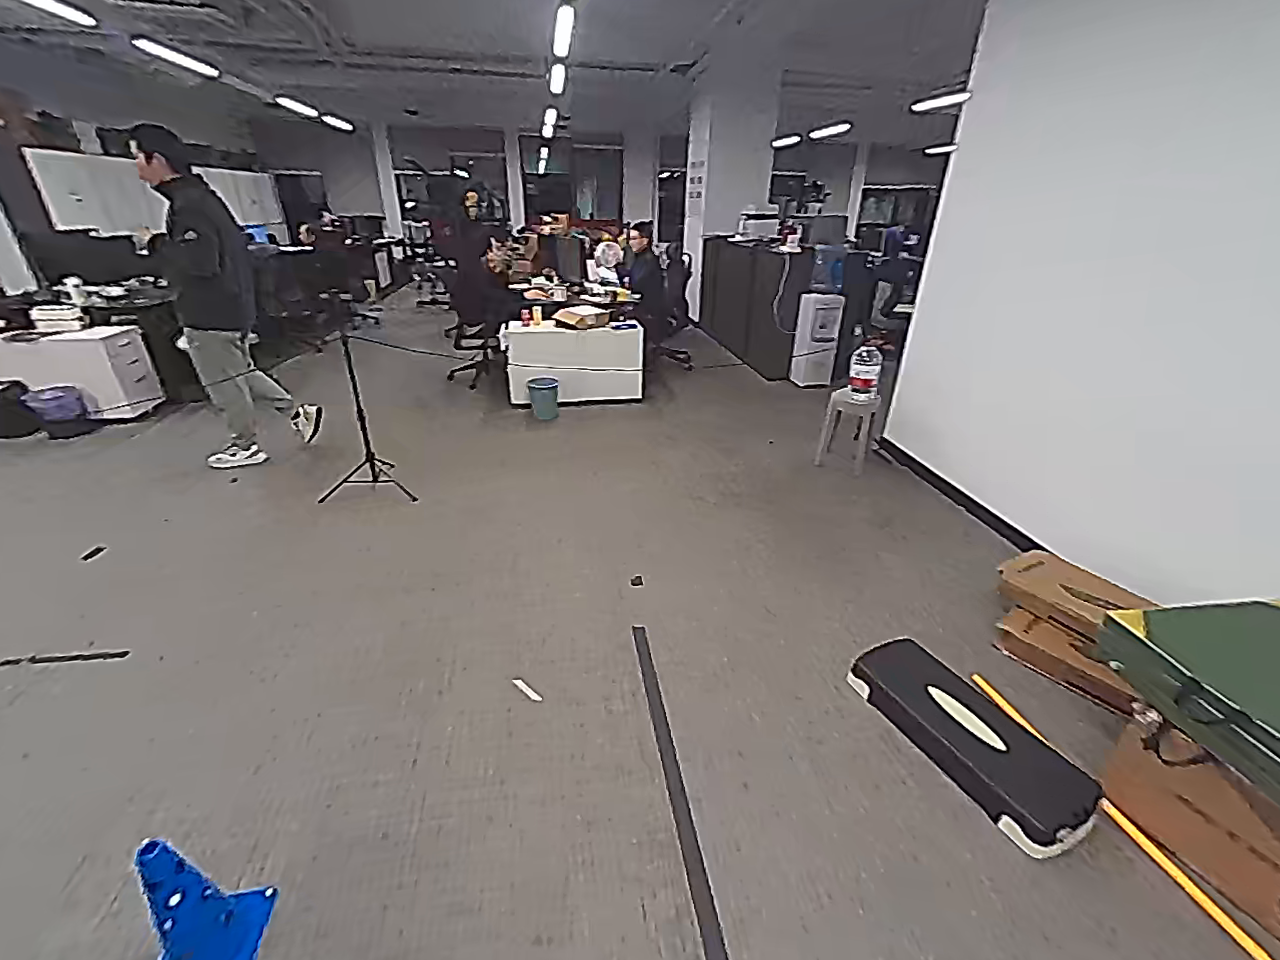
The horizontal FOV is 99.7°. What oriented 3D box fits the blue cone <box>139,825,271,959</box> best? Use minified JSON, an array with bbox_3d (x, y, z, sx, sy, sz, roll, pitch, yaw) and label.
[{"bbox_3d":[-0.926,0.841,1.093,0.193,0.380,0.192,-2,26,-8],"label":"blue cone"}]
